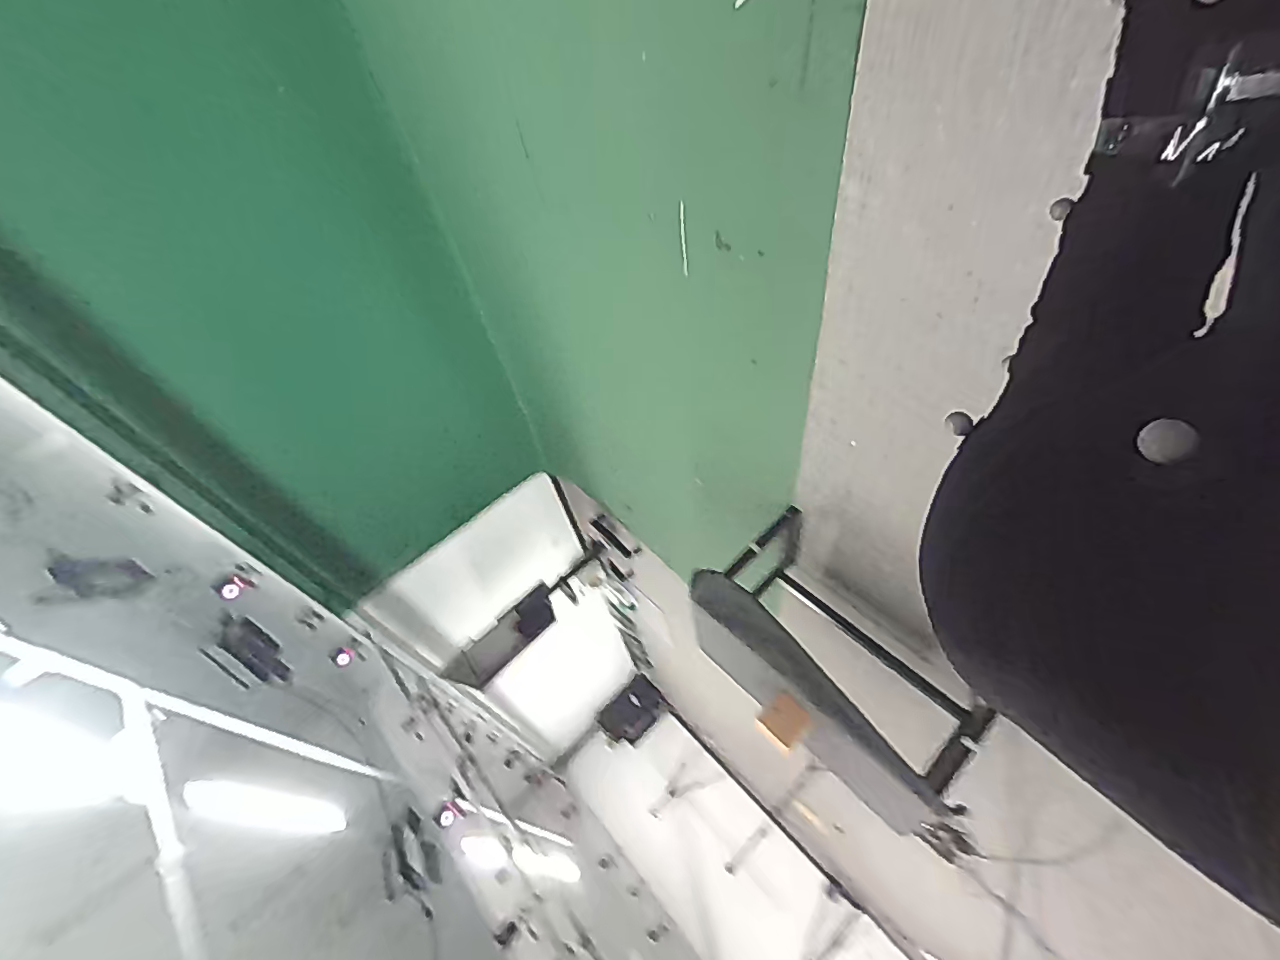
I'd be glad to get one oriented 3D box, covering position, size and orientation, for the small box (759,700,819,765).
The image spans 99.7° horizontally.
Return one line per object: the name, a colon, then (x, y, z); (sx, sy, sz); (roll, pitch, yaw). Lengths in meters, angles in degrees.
small box: (0.627, 1.060, 2.287); (0.179, 0.176, 0.168); (36, 157, 33)
